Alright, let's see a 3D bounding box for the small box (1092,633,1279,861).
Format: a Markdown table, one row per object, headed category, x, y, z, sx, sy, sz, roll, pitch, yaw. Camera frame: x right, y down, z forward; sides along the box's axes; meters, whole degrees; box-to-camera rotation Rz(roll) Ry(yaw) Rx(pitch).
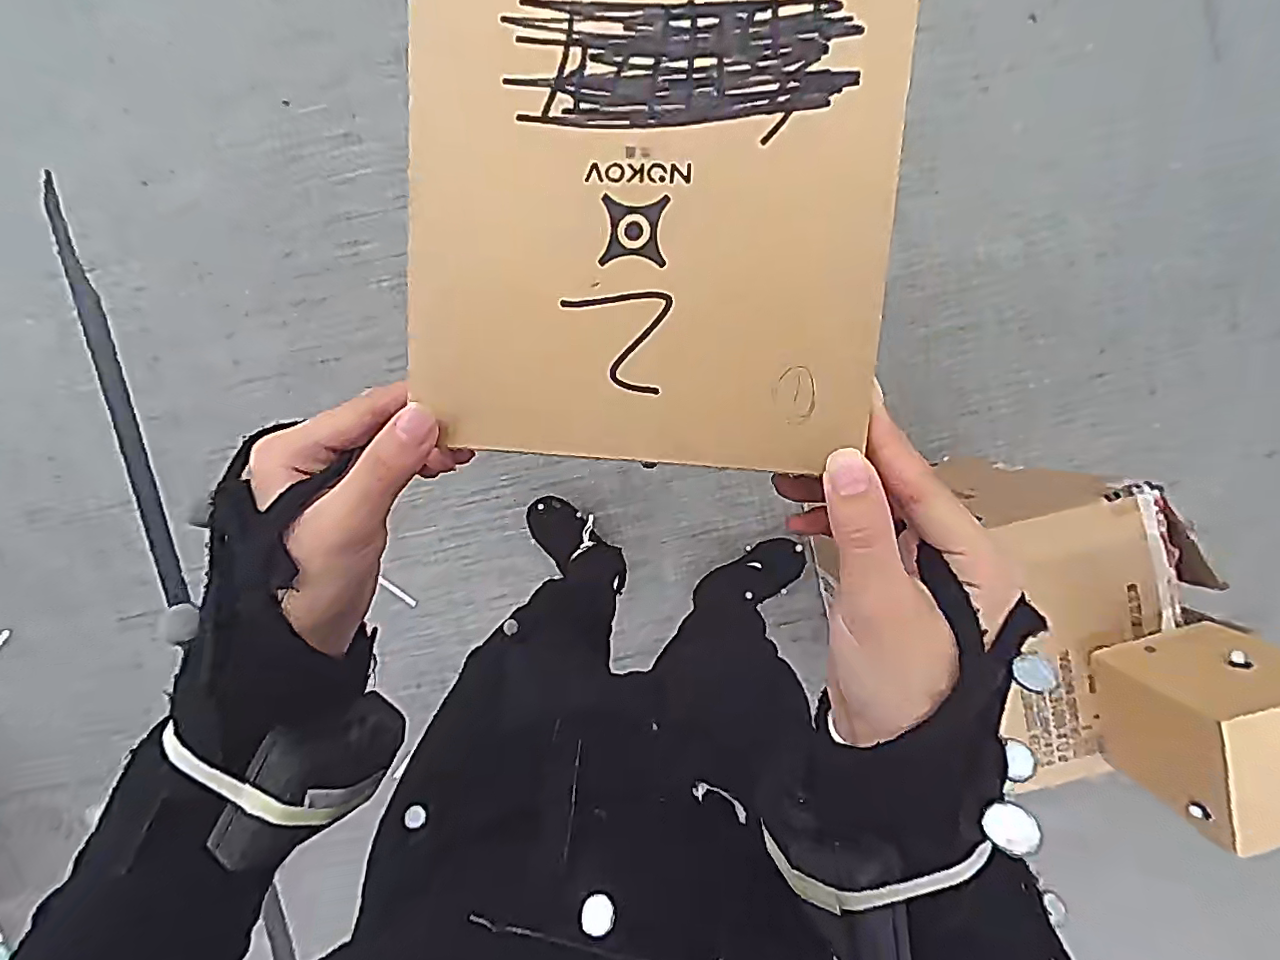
| category | x | y | z | sx | sy | sz | roll | pitch | yaw |
| --- | --- | --- | --- | --- | --- | --- | --- | --- | --- |
| small box | 0.707 | 0.308 | 0.666 | 0.168 | 0.176 | 0.179 | -16 | 99 | 1 |
